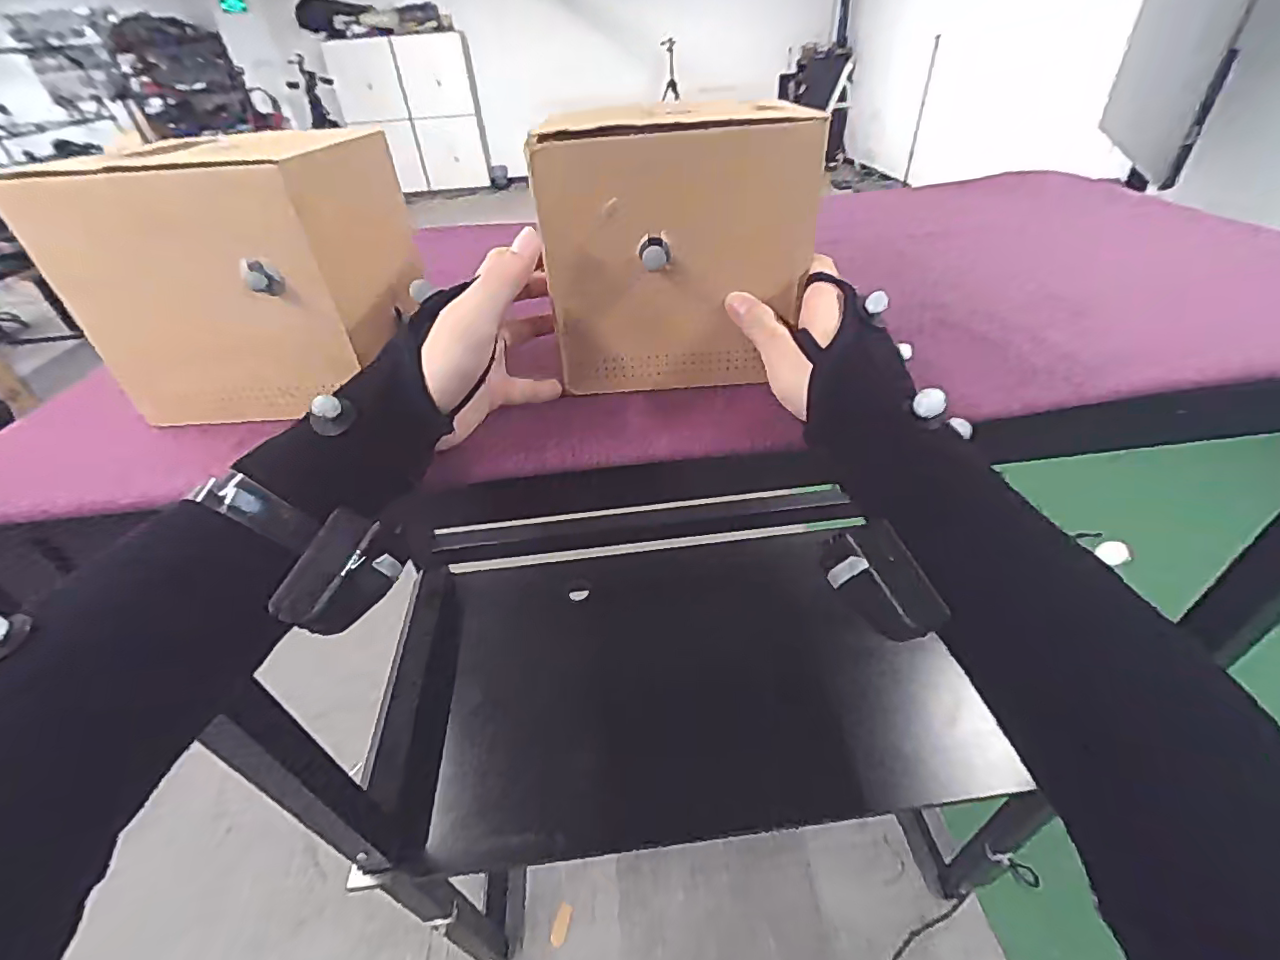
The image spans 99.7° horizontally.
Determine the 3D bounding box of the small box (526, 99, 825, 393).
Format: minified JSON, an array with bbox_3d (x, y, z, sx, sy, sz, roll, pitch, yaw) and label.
[{"bbox_3d":[0.025,-0.179,0.418,0.179,0.176,0.168,-5,40,1],"label":"small box"}]
